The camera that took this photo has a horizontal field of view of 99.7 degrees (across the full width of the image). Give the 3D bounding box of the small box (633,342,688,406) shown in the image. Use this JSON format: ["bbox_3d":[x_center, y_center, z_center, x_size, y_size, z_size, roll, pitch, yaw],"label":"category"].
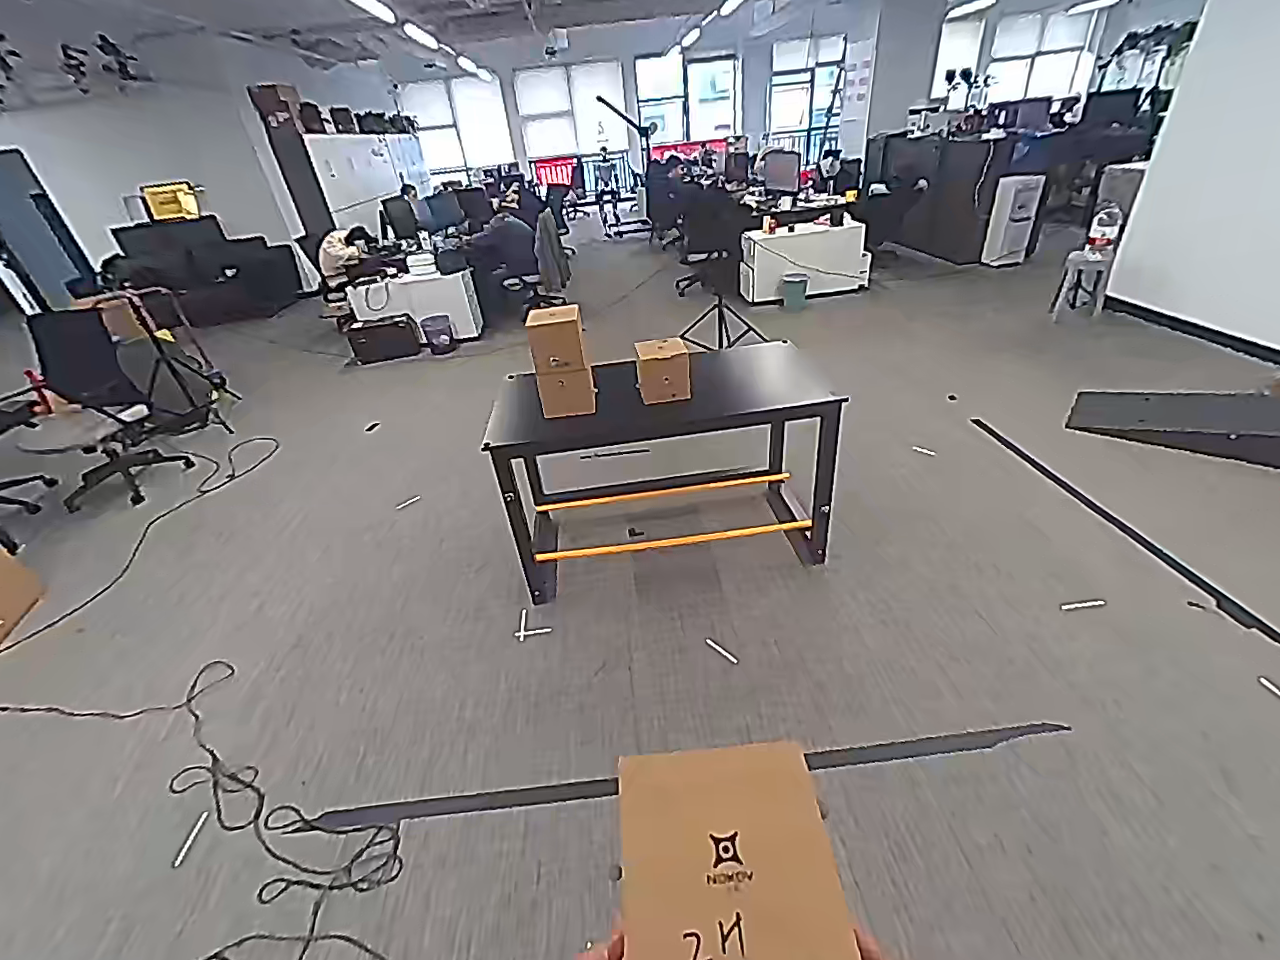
[{"bbox_3d":[0.074,-0.372,1.924,0.168,0.176,0.179,-9,33,-2],"label":"small box"}]

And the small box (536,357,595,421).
[{"bbox_3d":[-0.258,-0.318,1.900,0.179,0.176,0.168,-6,33,-1],"label":"small box"}]

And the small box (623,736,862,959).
[{"bbox_3d":[0.074,0.355,0.476,0.168,0.176,0.179,-6,40,0],"label":"small box"}]

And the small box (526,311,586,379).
[{"bbox_3d":[-0.277,-0.453,1.811,0.168,0.176,0.179,-9,34,0],"label":"small box"}]
